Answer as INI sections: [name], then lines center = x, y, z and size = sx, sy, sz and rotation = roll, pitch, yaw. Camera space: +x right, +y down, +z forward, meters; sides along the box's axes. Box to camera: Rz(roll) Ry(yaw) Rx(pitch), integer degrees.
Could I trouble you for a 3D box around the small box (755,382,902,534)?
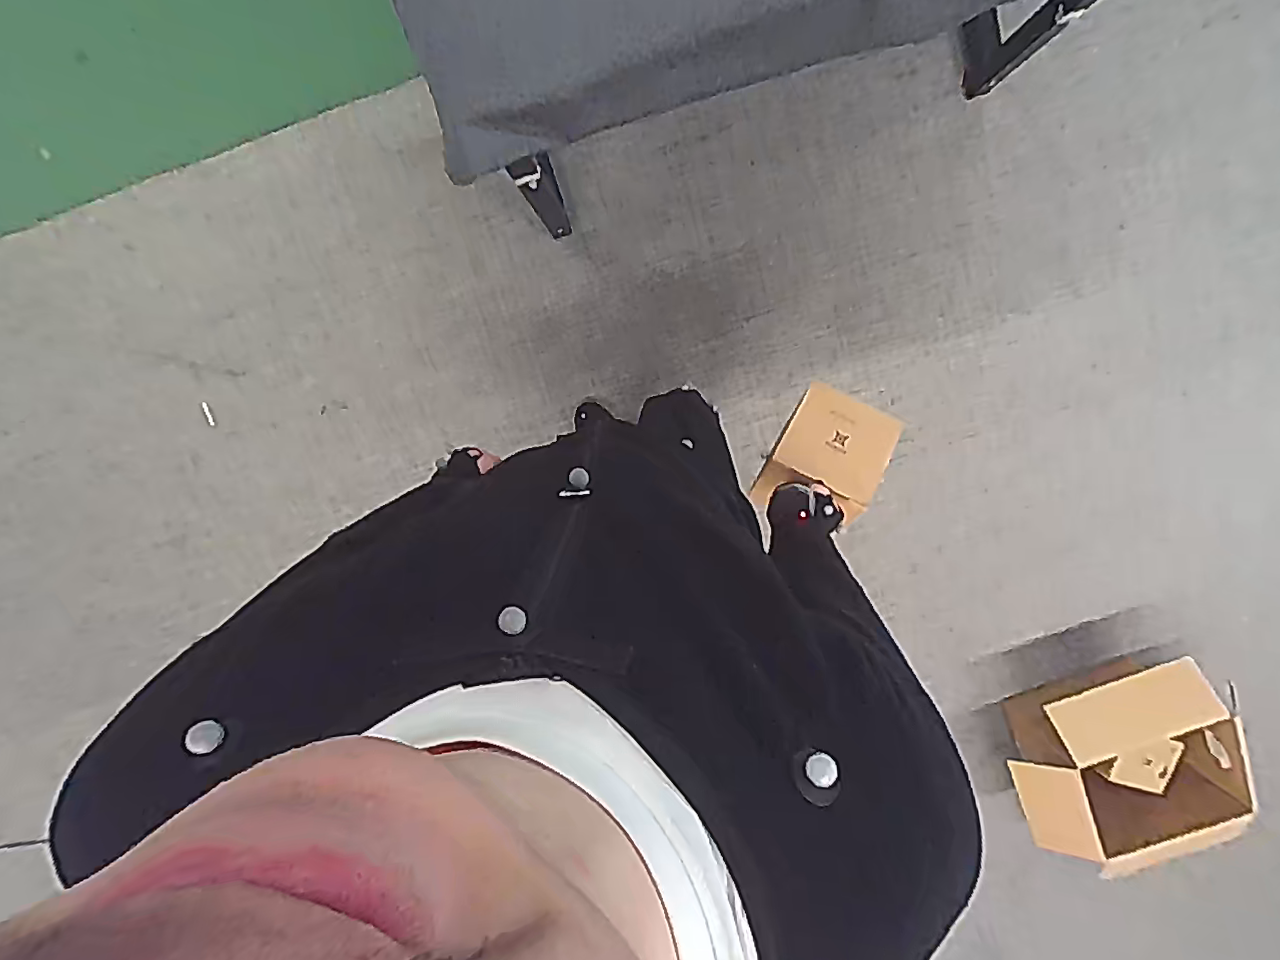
[small box]
center = 0.316, -0.030, 0.941
size = 0.168, 0.176, 0.179
rotation = 28, 67, 8
